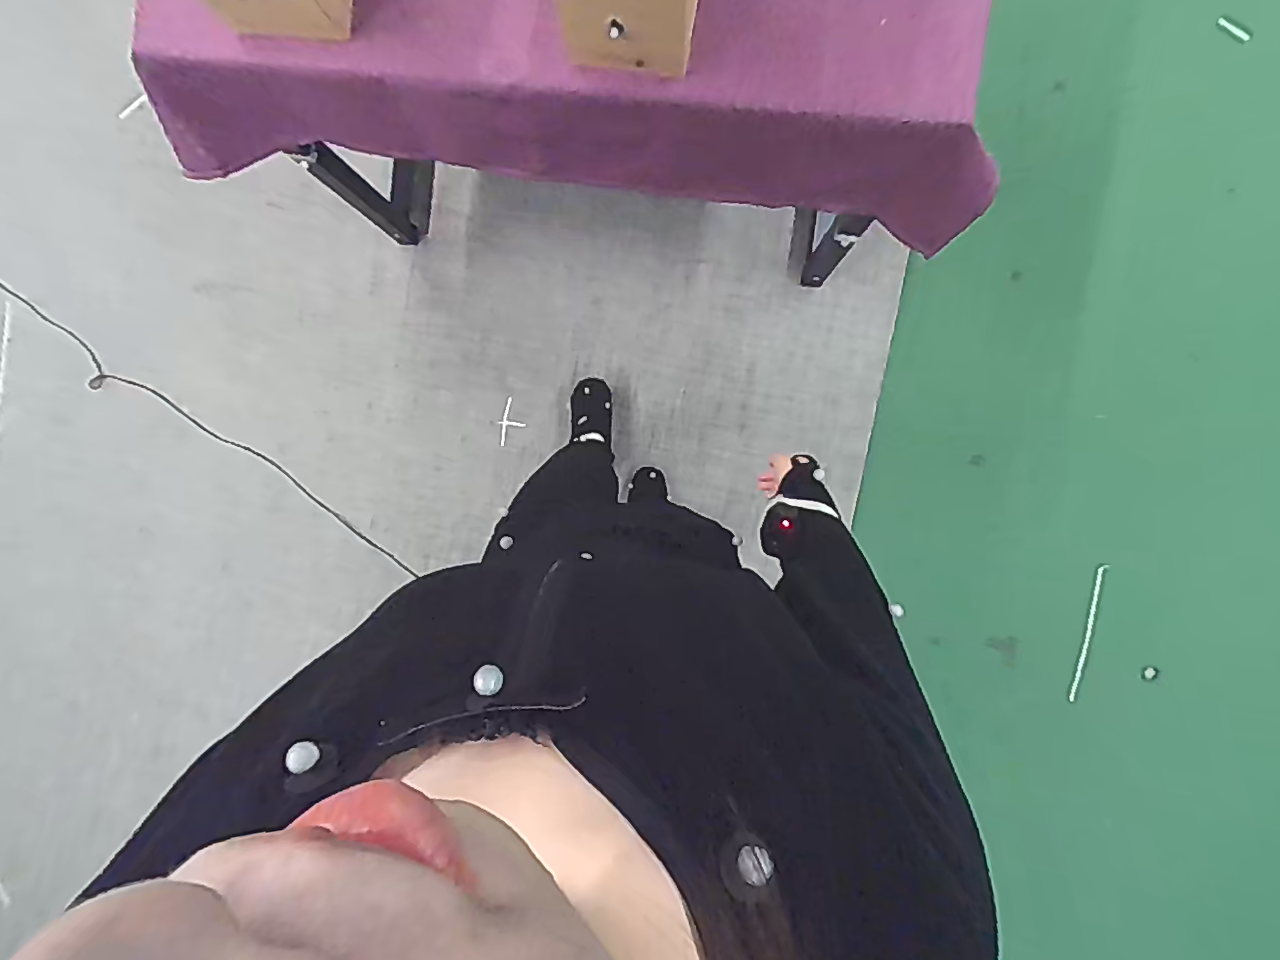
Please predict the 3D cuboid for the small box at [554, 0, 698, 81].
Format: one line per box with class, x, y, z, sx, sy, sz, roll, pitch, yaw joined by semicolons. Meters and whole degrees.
small box;-0.008;-0.644;0.671;0.168;0.176;0.179;11;92;2
